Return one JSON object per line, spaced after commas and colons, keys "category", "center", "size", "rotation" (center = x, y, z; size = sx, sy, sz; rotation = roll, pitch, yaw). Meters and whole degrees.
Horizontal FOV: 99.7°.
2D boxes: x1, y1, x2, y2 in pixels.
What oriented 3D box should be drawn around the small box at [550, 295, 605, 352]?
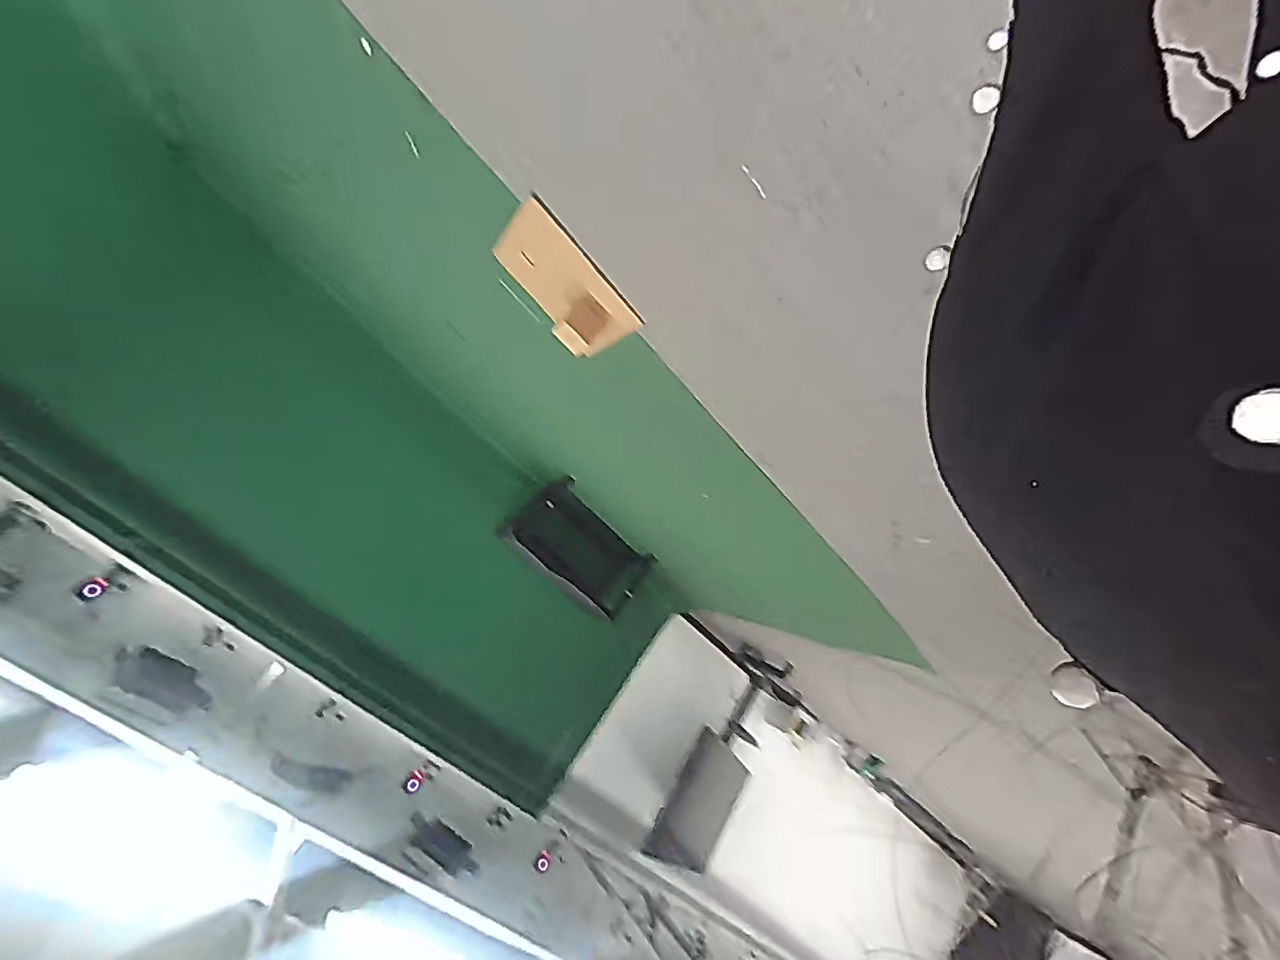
{"category": "small box", "center": [-0.295, -0.748, 2.585], "size": [0.168, 0.176, 0.179], "rotation": [43, 158, -20]}
